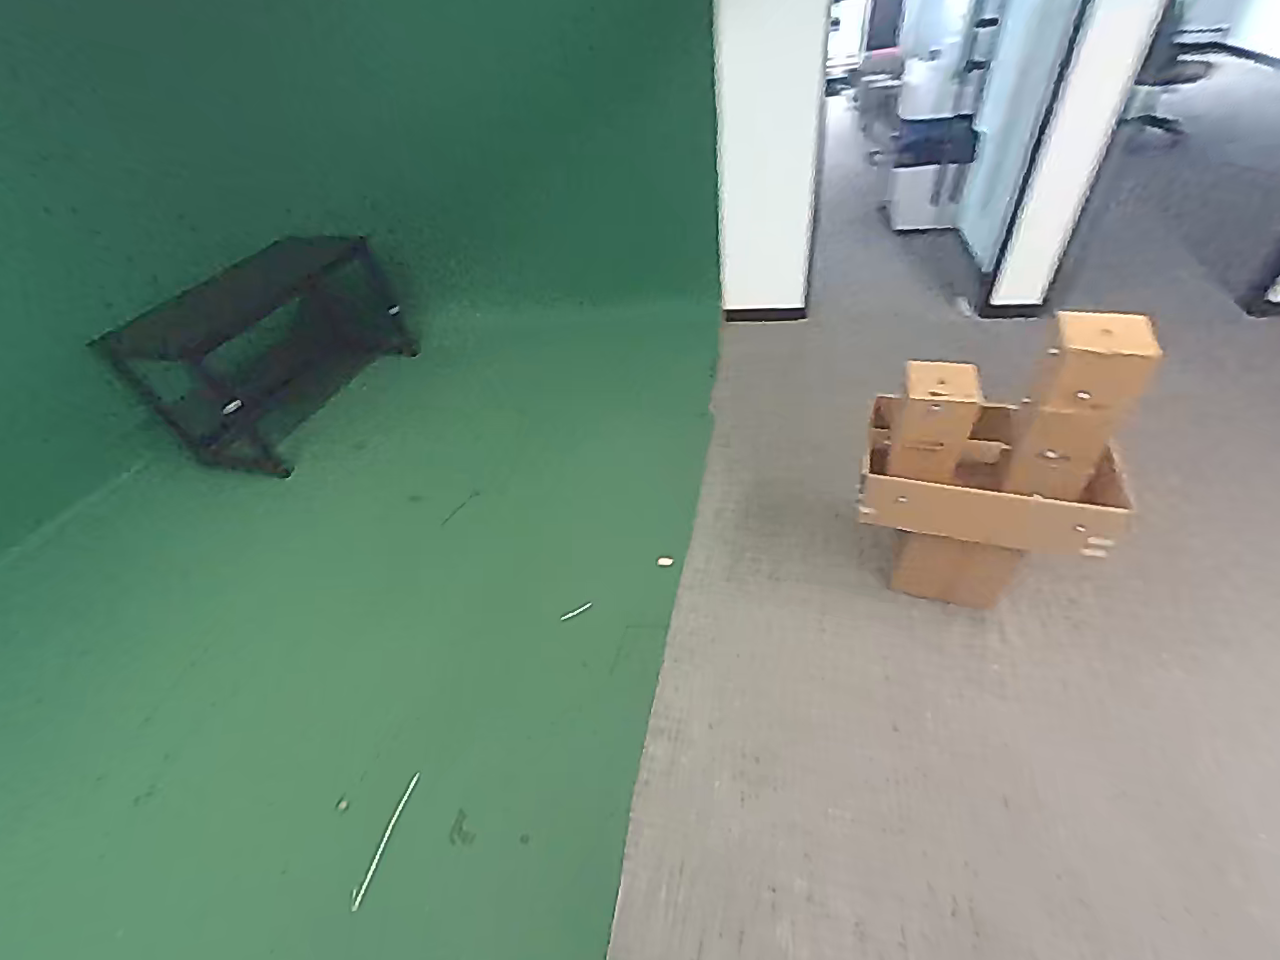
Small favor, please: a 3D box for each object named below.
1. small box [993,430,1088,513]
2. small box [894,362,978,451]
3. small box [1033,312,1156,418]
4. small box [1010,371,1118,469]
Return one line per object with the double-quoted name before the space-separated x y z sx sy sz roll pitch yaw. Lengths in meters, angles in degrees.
"small box" 1.093 -0.038 1.491 0.168 0.176 0.179 12 48 22
"small box" 0.797 -0.202 1.475 0.168 0.176 0.179 6 45 17
"small box" 1.051 -0.272 1.270 0.168 0.176 0.179 11 48 21
"small box" 1.069 -0.155 1.380 0.168 0.176 0.179 11 47 21
